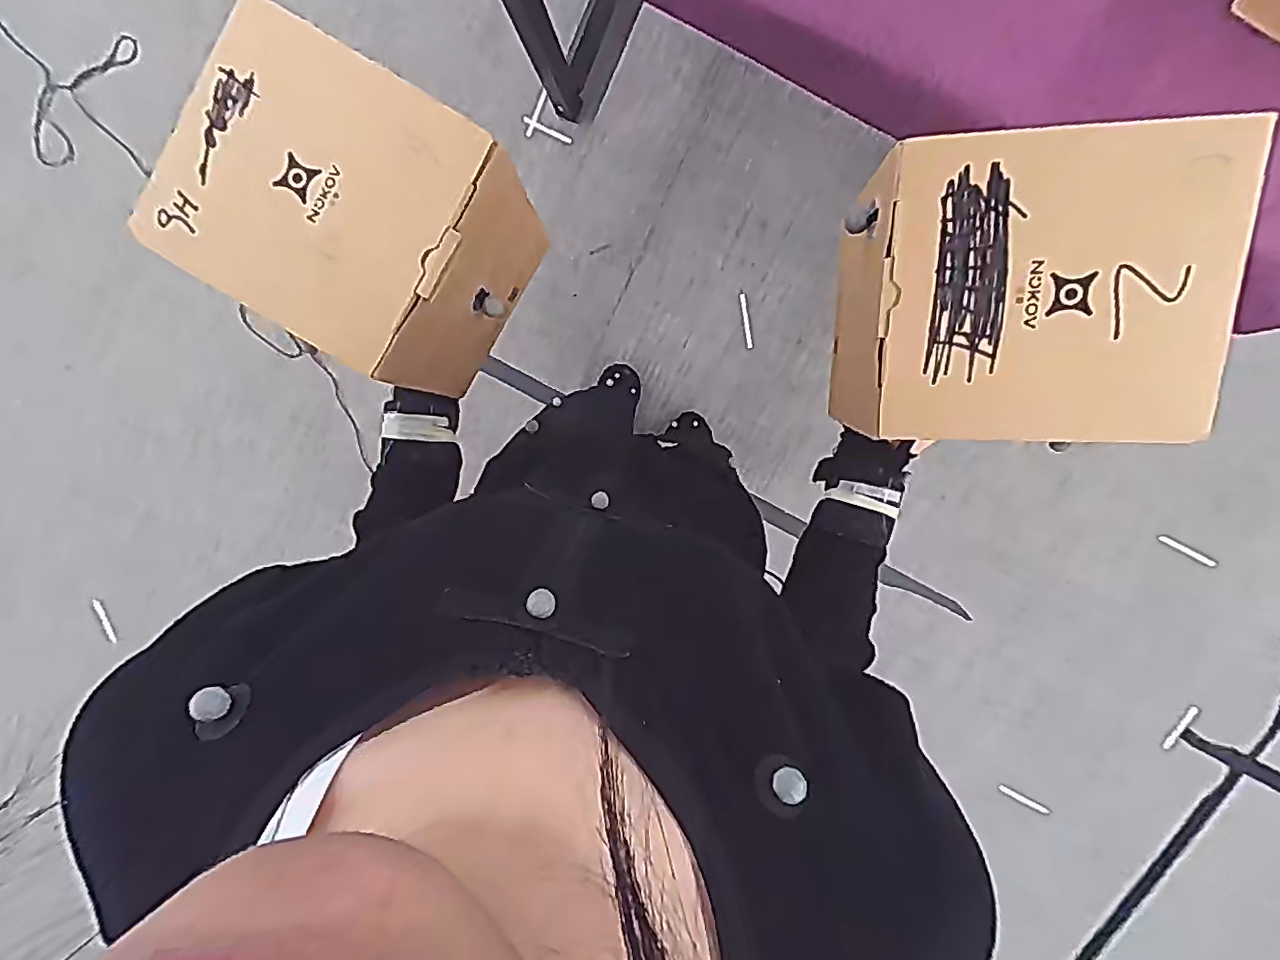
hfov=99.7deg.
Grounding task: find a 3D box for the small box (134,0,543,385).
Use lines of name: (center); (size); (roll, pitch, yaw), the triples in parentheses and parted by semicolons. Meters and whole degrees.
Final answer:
small box: (-0.193, -0.183, 0.405); (0.179, 0.176, 0.168); (31, 94, -2)
